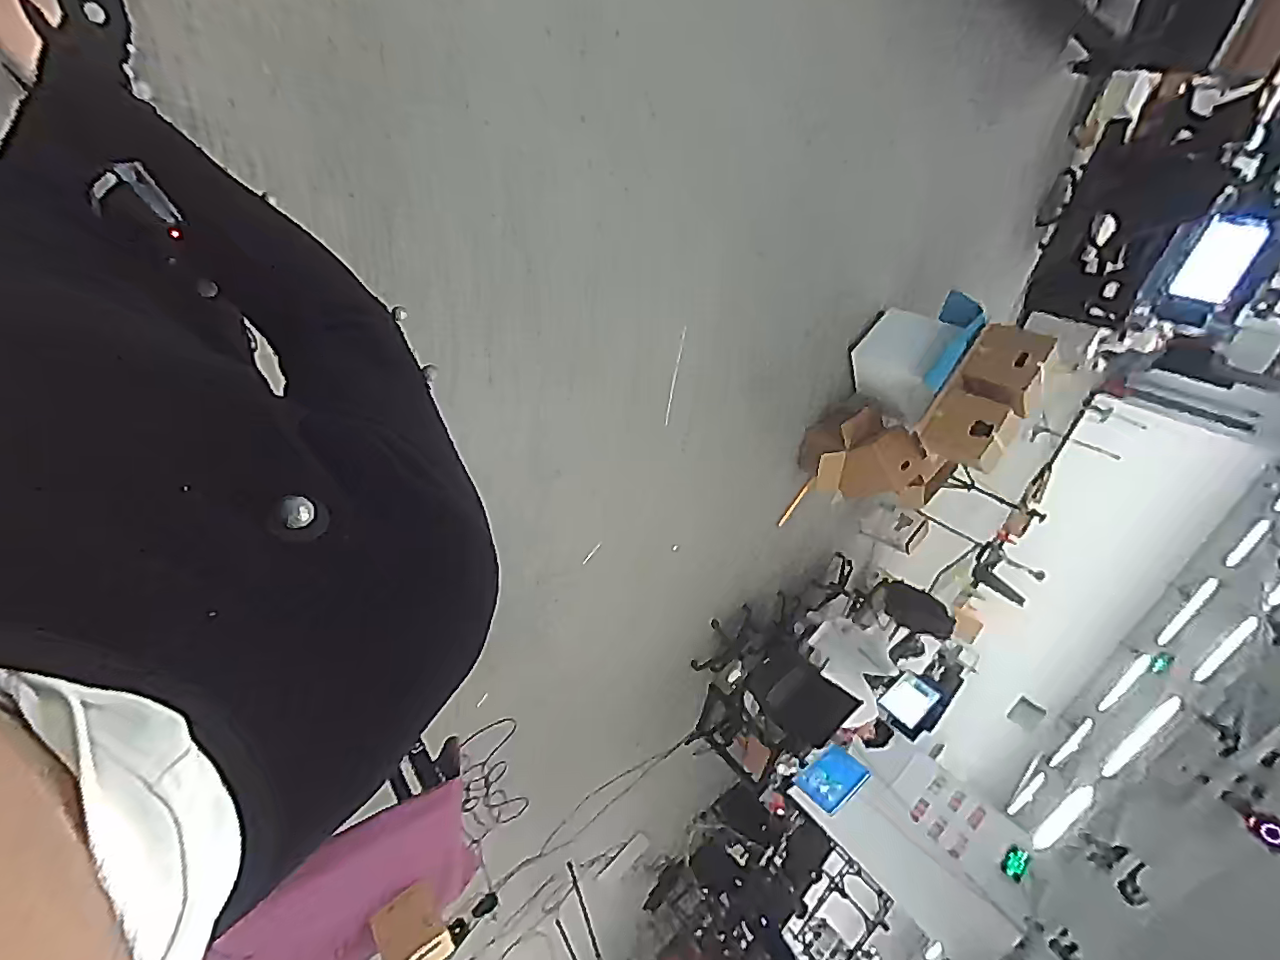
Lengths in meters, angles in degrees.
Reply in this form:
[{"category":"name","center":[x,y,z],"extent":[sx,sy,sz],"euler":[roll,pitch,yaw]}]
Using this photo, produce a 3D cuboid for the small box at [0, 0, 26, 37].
[{"category":"small box","center":[-0.563,-0.454,0.372],"extent":[0.168,0.176,0.179],"euler":[-9,117,-44]}]
